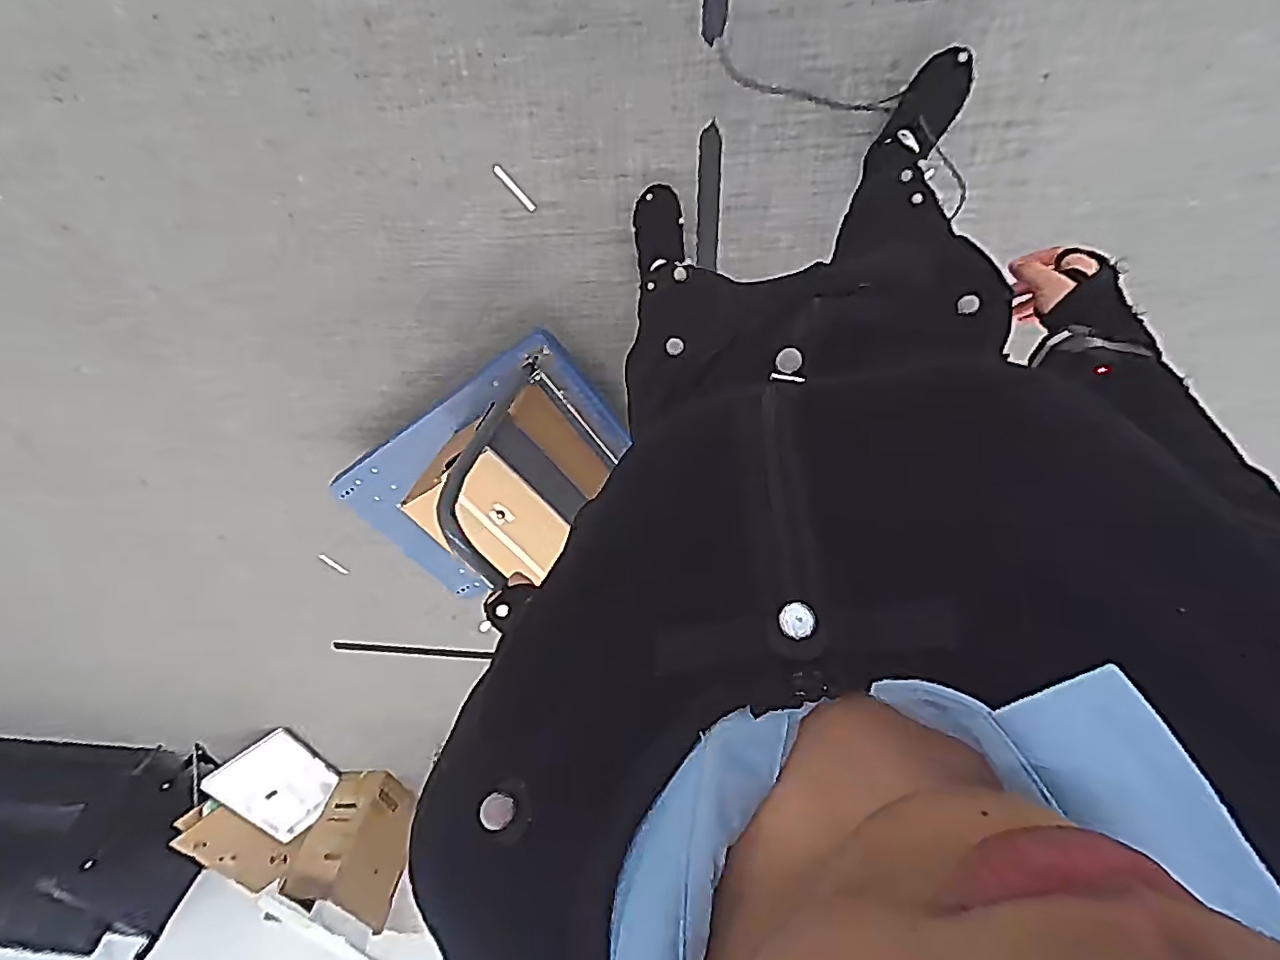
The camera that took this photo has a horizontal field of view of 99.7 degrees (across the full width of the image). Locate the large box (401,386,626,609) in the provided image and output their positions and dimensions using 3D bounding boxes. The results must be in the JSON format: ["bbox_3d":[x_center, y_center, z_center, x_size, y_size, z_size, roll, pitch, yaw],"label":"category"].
[{"bbox_3d":[-0.287,0.048,1.362,0.320,0.320,0.408,-28,117,24],"label":"large box"}]
